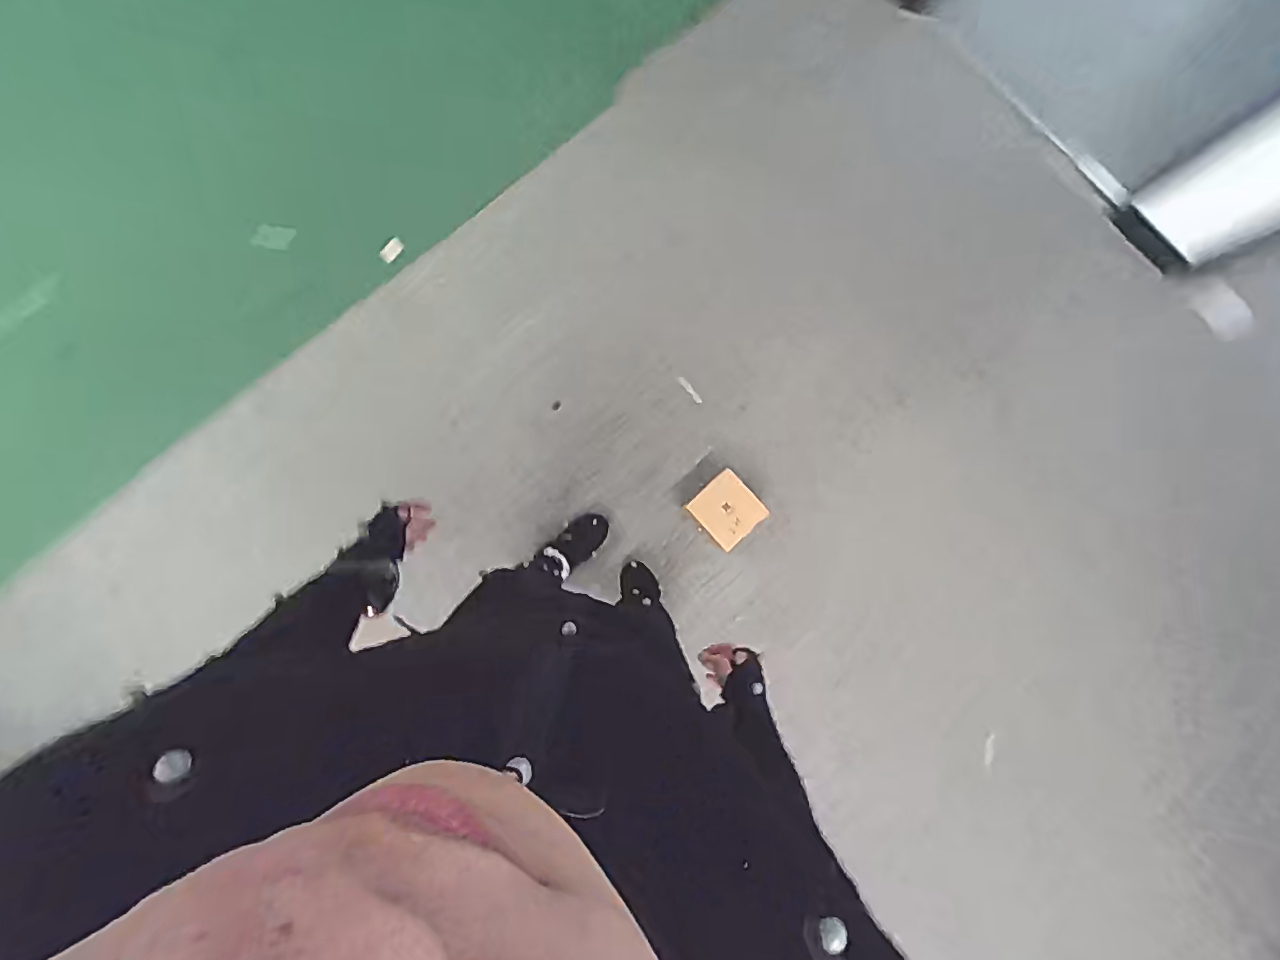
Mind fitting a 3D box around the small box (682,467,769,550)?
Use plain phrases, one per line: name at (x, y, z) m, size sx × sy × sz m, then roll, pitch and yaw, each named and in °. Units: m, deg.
small box at (0.238, 0.085, 1.569) m, size 0.168 × 0.176 × 0.179 m, roll -40°, pitch 88°, yaw -4°
